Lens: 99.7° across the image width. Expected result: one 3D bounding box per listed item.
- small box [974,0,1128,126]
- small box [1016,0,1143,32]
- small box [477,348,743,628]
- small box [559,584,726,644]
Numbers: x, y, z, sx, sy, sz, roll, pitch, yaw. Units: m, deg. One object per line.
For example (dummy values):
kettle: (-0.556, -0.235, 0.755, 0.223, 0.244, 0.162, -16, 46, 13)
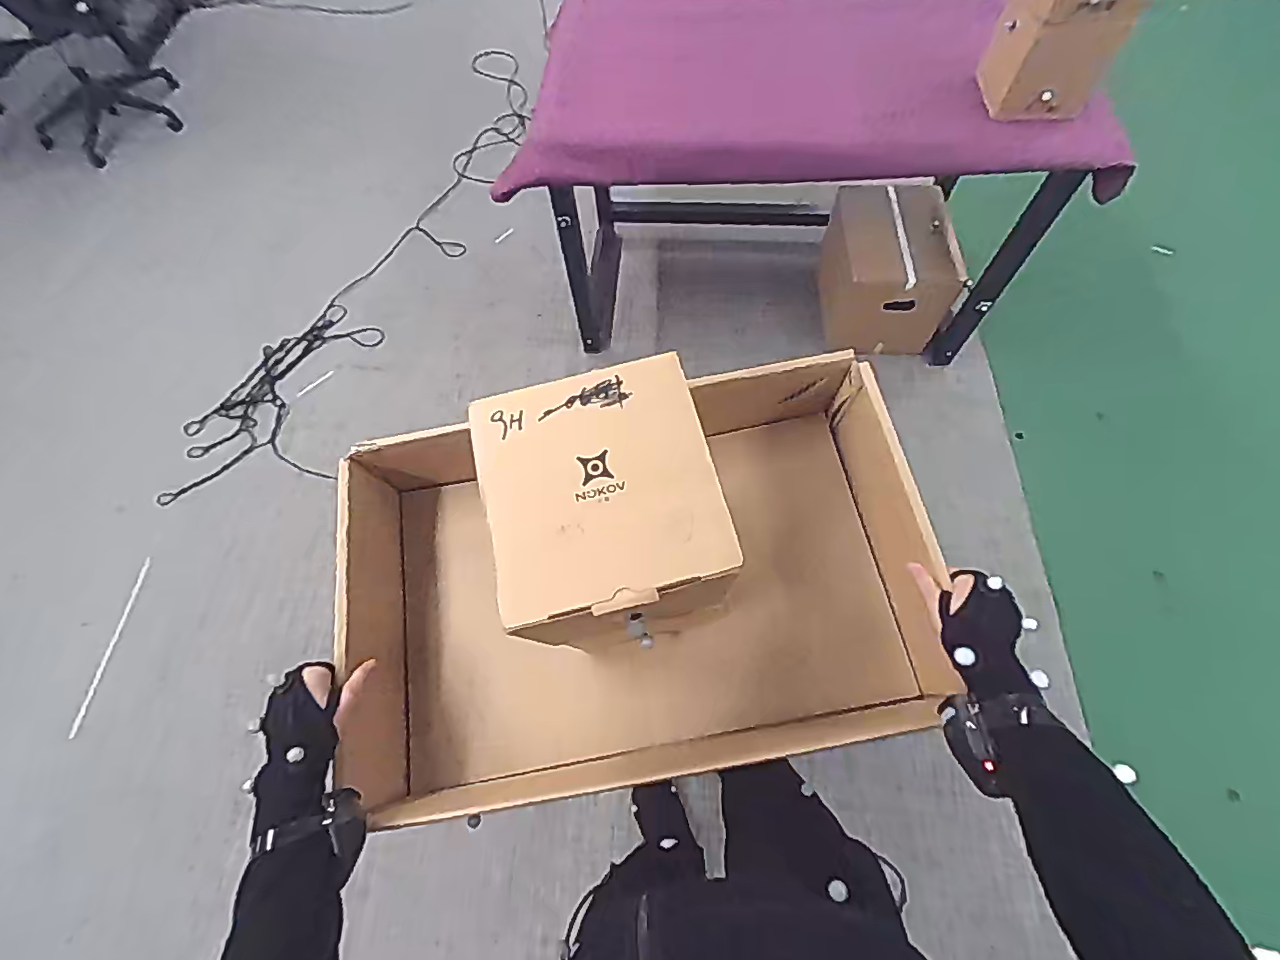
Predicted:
small box: (0.803, -0.844, 1.081, 0.168, 0.176, 0.179, 2, 64, 5)
small box: (0.788, -0.919, 0.938, 0.168, 0.176, 0.179, -1, 63, 5)
small box: (-0.022, 0.022, 0.459, 0.168, 0.176, 0.179, -14, 70, -2)
small box: (-0.008, 0.078, 0.613, 0.168, 0.176, 0.179, -12, 69, 0)
